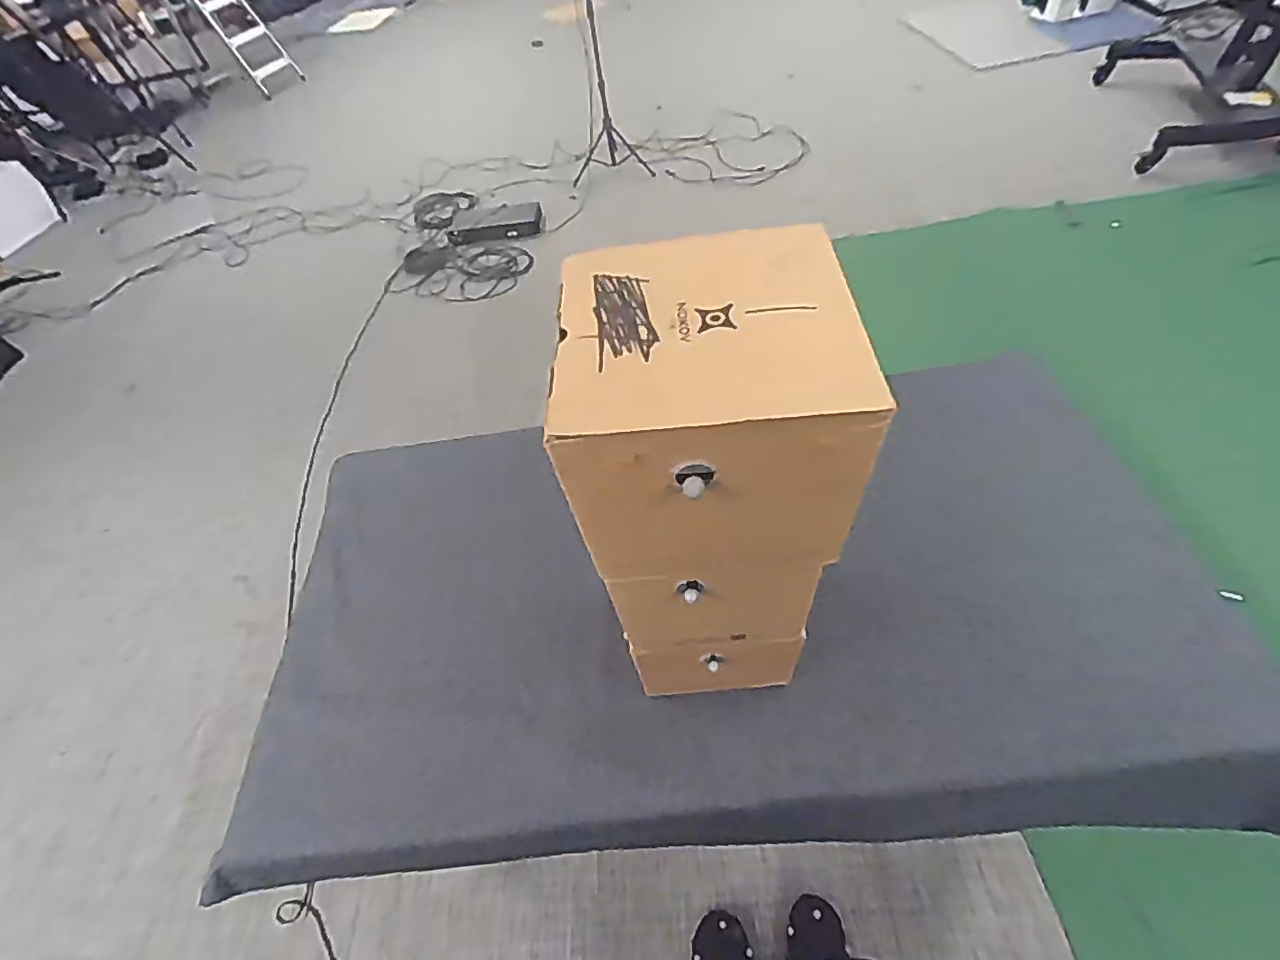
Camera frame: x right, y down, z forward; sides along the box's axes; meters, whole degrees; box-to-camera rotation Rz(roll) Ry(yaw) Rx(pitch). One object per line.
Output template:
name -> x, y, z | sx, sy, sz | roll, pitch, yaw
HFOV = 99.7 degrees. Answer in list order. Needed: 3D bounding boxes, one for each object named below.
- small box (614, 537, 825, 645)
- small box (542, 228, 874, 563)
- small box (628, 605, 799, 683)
small box -> 0.063, 0.042, 0.527 | 0.168, 0.176, 0.179 | -7, 55, 3
small box -> 0.043, -0.050, 0.389 | 0.179, 0.176, 0.168 | -4, 55, 5
small box -> 0.081, 0.138, 0.655 | 0.179, 0.176, 0.168 | -6, 54, 3
